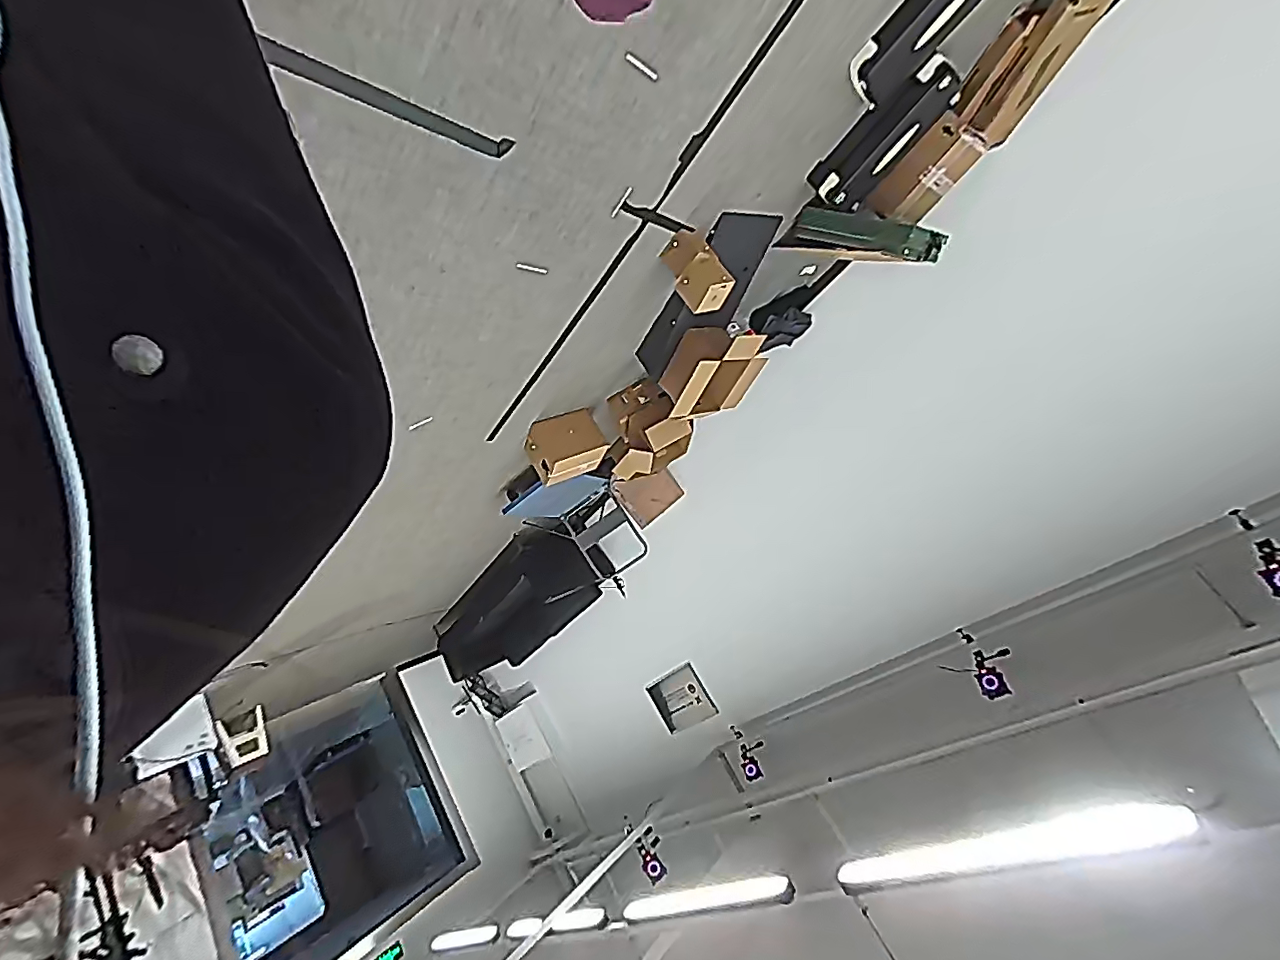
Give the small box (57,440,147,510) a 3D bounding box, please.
[{"bbox_3d":[-1.817,-0.023,1.822,0.168,0.176,0.179,-41,163,28],"label":"small box"}]
